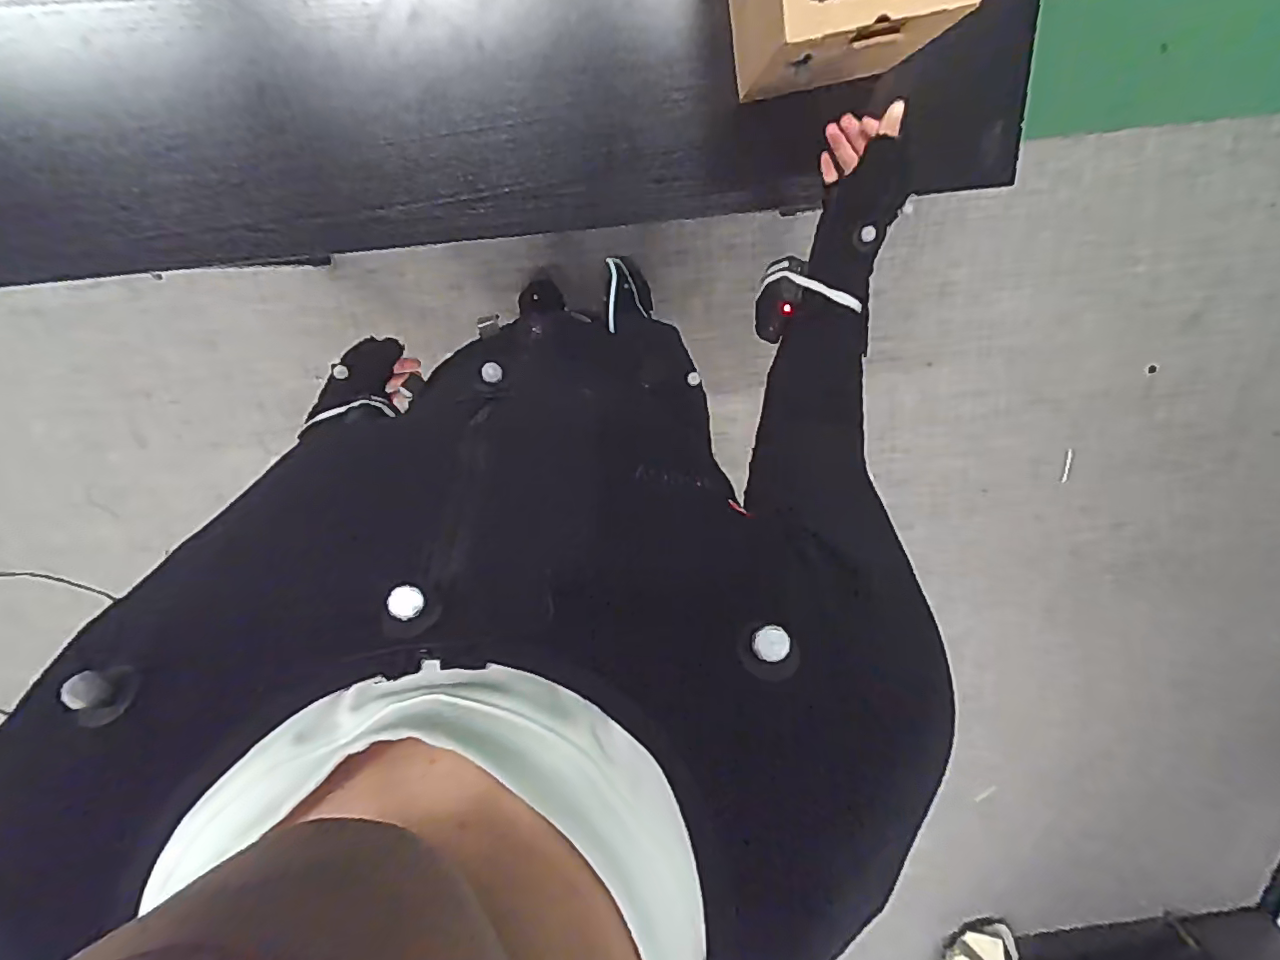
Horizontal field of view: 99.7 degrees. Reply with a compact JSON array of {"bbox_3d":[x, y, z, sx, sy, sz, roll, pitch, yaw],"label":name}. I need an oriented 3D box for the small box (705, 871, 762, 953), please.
[{"bbox_3d":[0.326,1.521,1.916,0.168,0.176,0.179,-3,113,-4],"label":"small box"}]

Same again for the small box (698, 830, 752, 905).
[{"bbox_3d":[0.317,1.472,2.055,0.168,0.176,0.179,-1,112,-4],"label":"small box"}]
